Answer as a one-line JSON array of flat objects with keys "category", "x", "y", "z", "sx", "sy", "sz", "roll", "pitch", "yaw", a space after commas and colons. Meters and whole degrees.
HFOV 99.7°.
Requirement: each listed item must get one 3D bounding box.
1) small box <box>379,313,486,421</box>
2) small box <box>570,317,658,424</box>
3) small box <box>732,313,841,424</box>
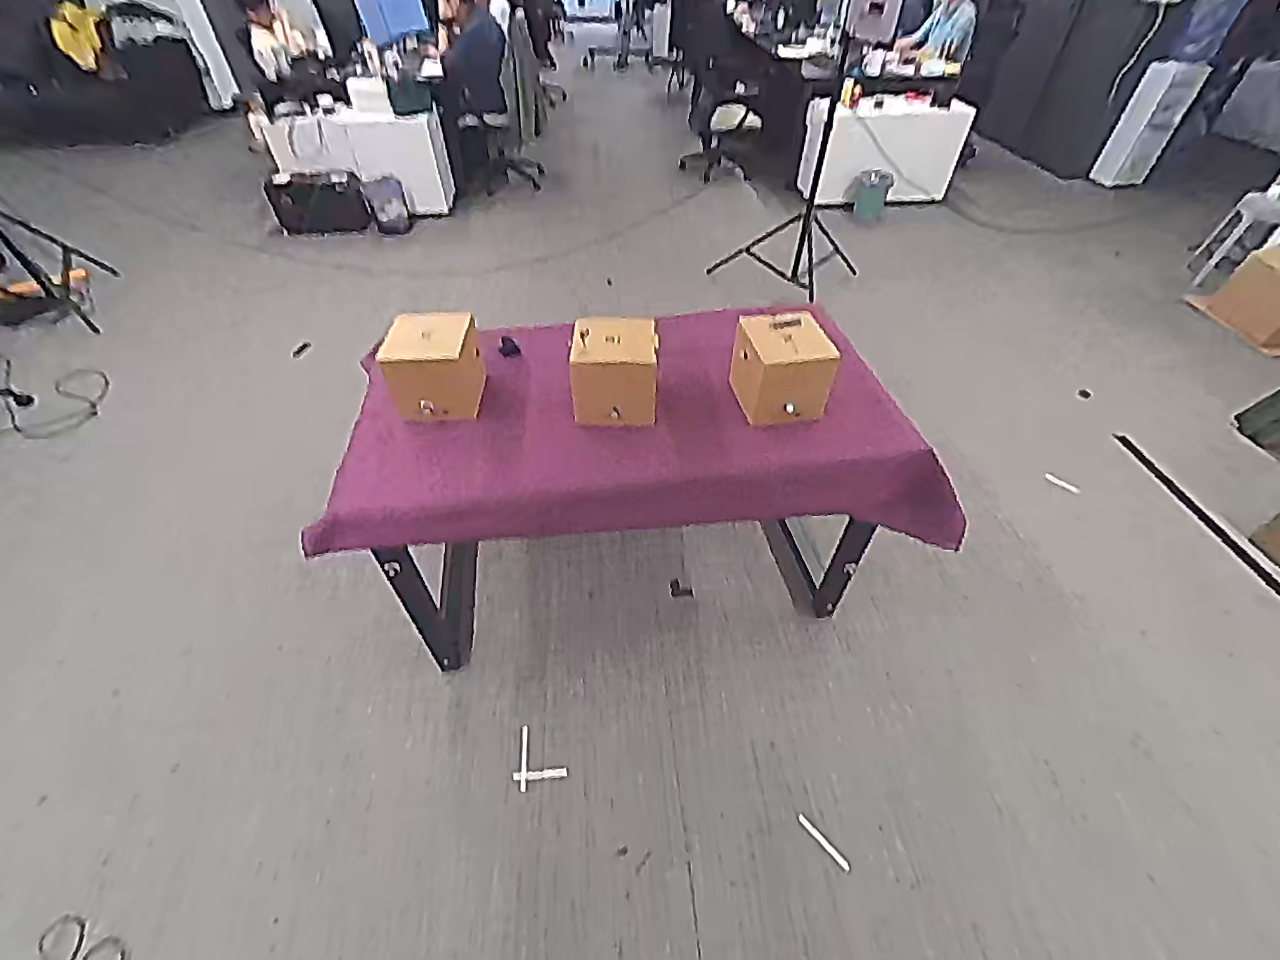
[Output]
[{"category": "small box", "x": -0.444, "y": -0.250, "z": 1.193, "sx": 0.168, "sy": 0.176, "sz": 0.179, "roll": -3, "pitch": 47, "yaw": -2}, {"category": "small box", "x": -0.053, "y": -0.236, "z": 1.184, "sx": 0.179, "sy": 0.176, "sz": 0.168, "roll": 1, "pitch": 46, "yaw": 0}, {"category": "small box", "x": 0.311, "y": -0.247, "z": 1.195, "sx": 0.168, "sy": 0.176, "sz": 0.179, "roll": -7, "pitch": 47, "yaw": -7}]
